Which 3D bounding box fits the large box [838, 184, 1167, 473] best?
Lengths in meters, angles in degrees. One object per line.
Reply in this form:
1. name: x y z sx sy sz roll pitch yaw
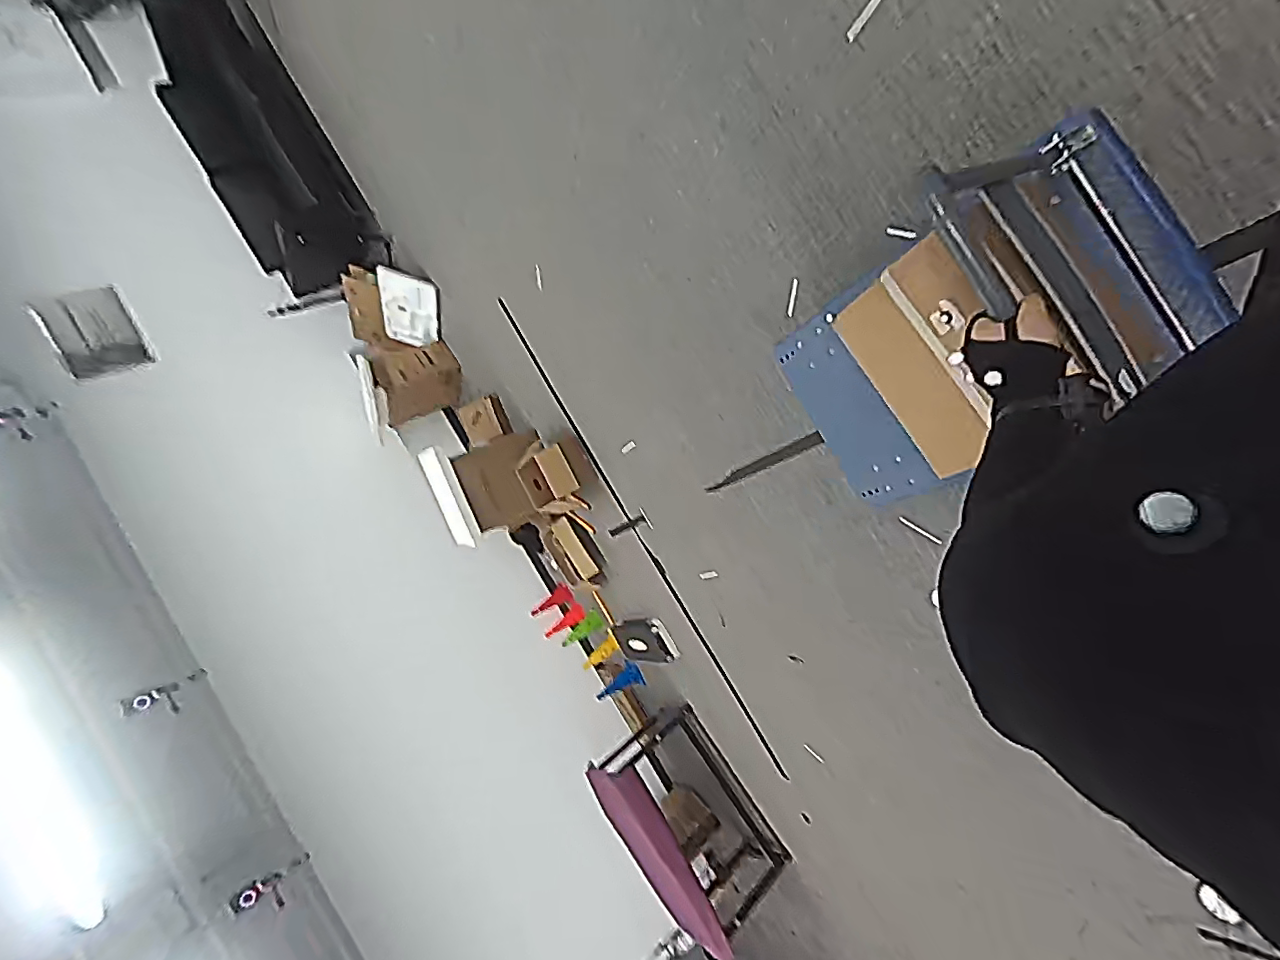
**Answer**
1. large box: 0.691 -0.289 1.060 0.408 0.320 0.320 58 149 6
